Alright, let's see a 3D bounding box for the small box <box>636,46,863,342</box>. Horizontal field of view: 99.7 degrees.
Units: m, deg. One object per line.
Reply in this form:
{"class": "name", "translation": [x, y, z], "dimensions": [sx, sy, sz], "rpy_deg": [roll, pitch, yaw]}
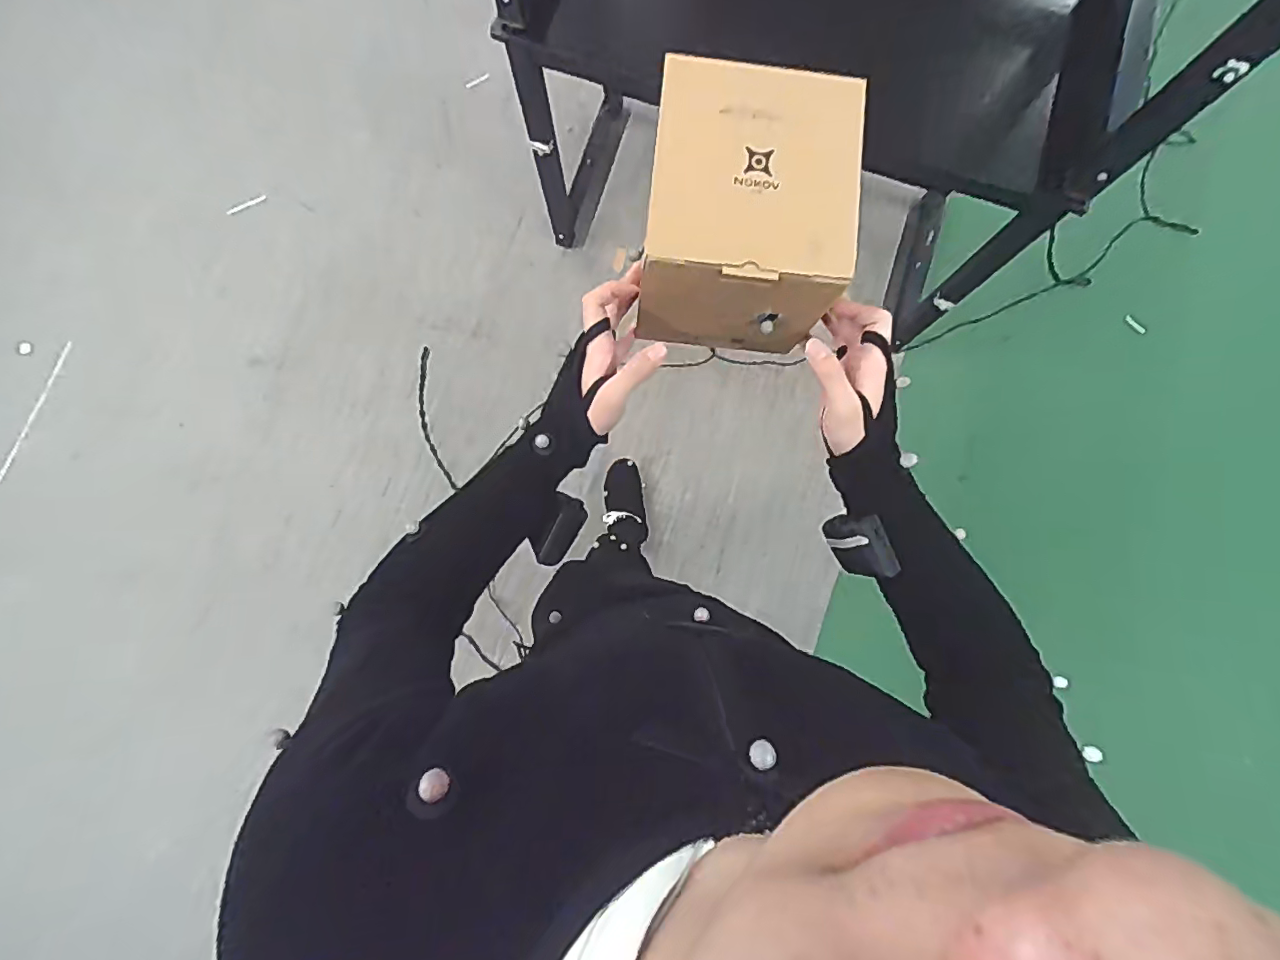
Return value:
{"class": "small box", "translation": [0.086, -0.242, 0.500], "dimensions": [0.168, 0.176, 0.179], "rpy_deg": [6, 84, -2]}
